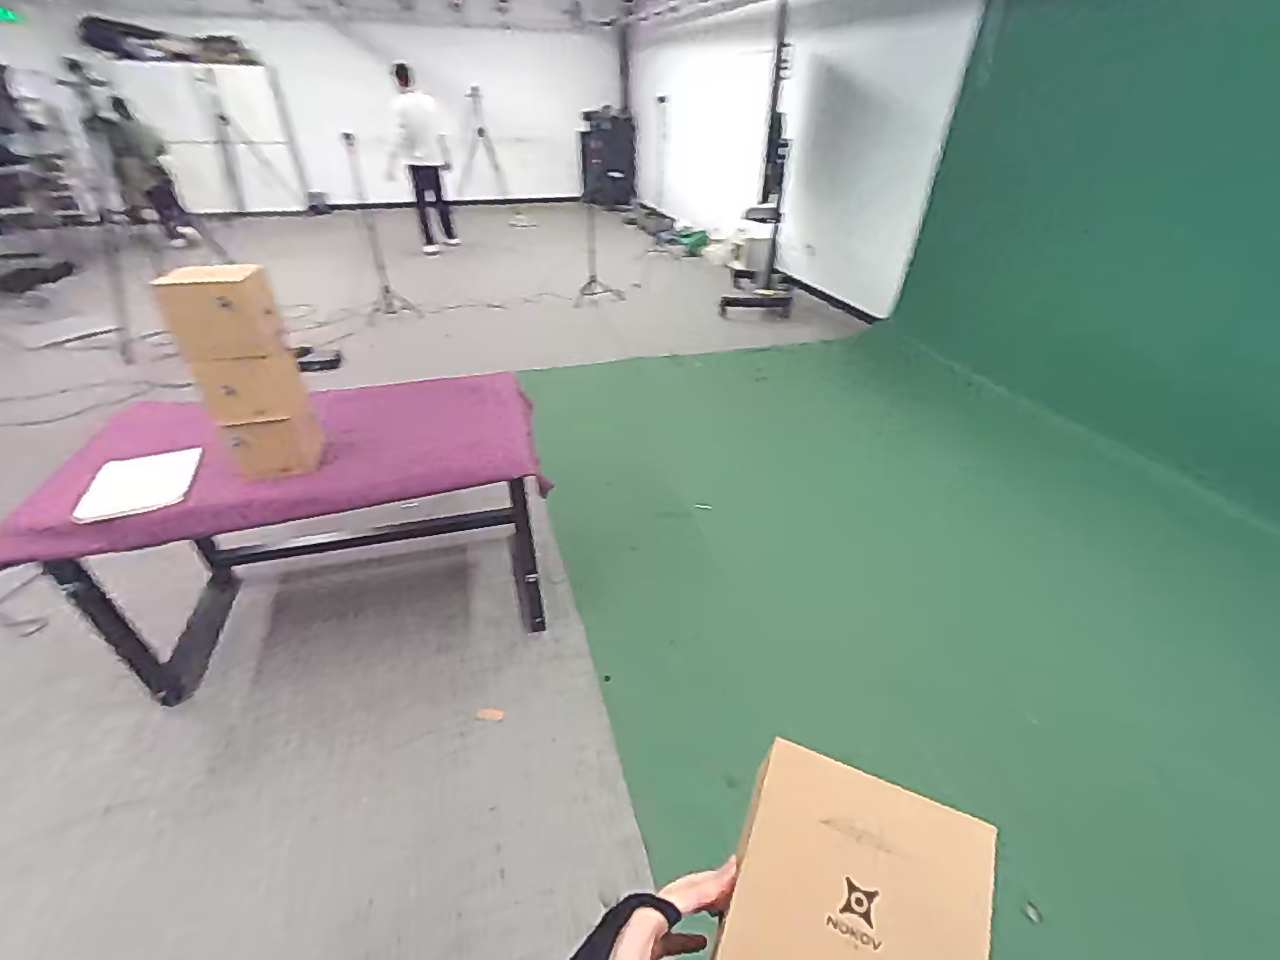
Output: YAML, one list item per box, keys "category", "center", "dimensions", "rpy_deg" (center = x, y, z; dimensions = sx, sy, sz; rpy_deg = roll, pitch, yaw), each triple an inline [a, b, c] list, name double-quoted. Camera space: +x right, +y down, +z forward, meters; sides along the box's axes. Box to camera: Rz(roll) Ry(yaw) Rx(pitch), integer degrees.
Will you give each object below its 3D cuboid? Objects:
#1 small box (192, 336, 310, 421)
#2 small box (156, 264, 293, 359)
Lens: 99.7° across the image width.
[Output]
- category: "small box"
  center: [-0.949, -0.254, 1.340]
  dimensions: [0.168, 0.176, 0.179]
  rpy_deg: [-8, 34, -13]
- category: "small box"
  center: [-0.937, -0.388, 1.244]
  dimensions: [0.179, 0.176, 0.168]
  rpy_deg: [-7, 34, -11]
